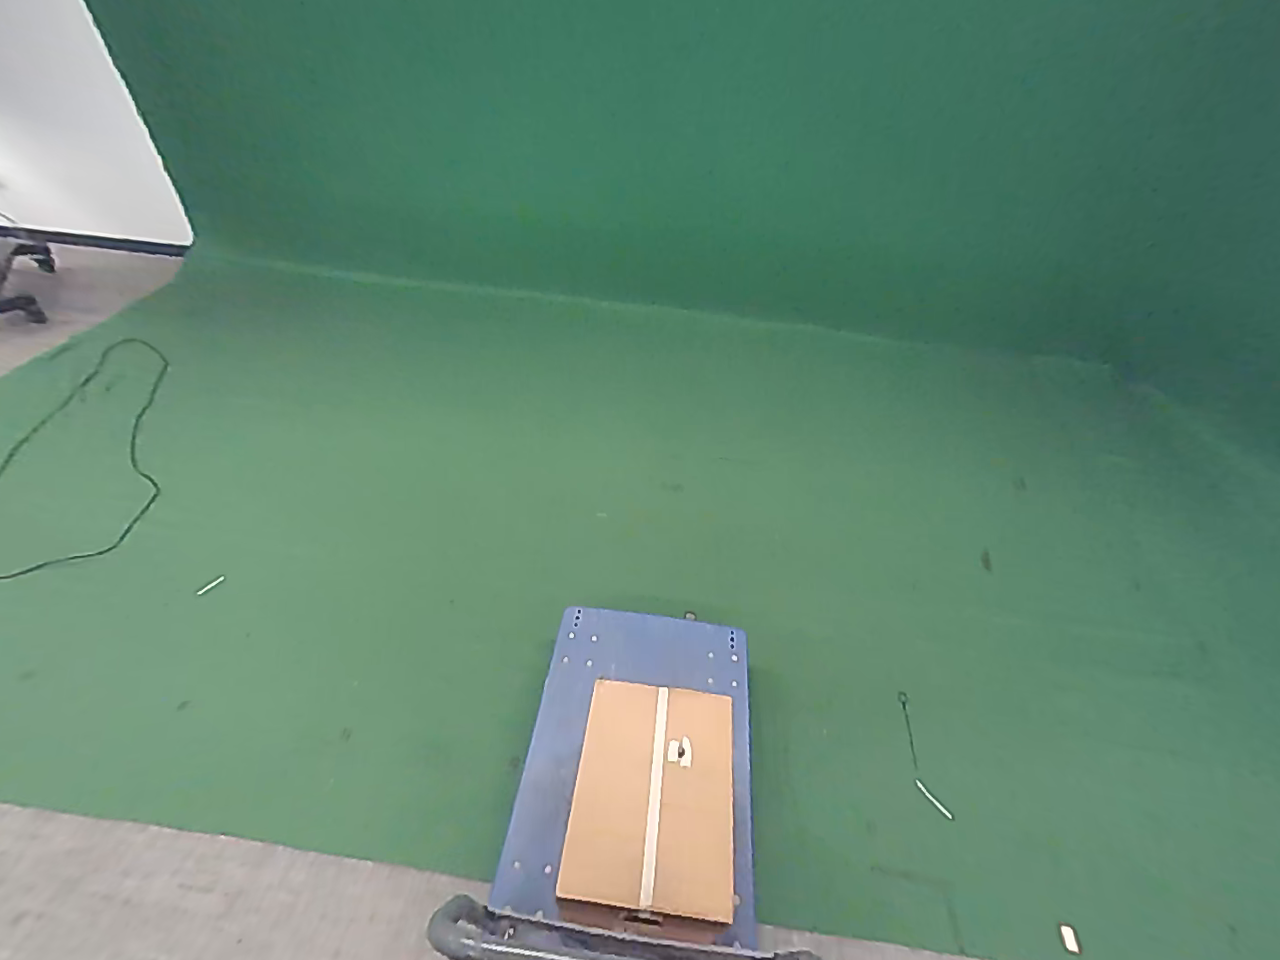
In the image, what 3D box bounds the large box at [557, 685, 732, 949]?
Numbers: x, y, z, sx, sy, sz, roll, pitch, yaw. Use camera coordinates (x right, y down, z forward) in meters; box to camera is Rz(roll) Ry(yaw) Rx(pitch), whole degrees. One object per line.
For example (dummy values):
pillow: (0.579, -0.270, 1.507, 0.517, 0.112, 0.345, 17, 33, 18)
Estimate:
large box: (0.014, 0.723, 1.173, 0.320, 0.320, 0.408, 7, 42, 1)
